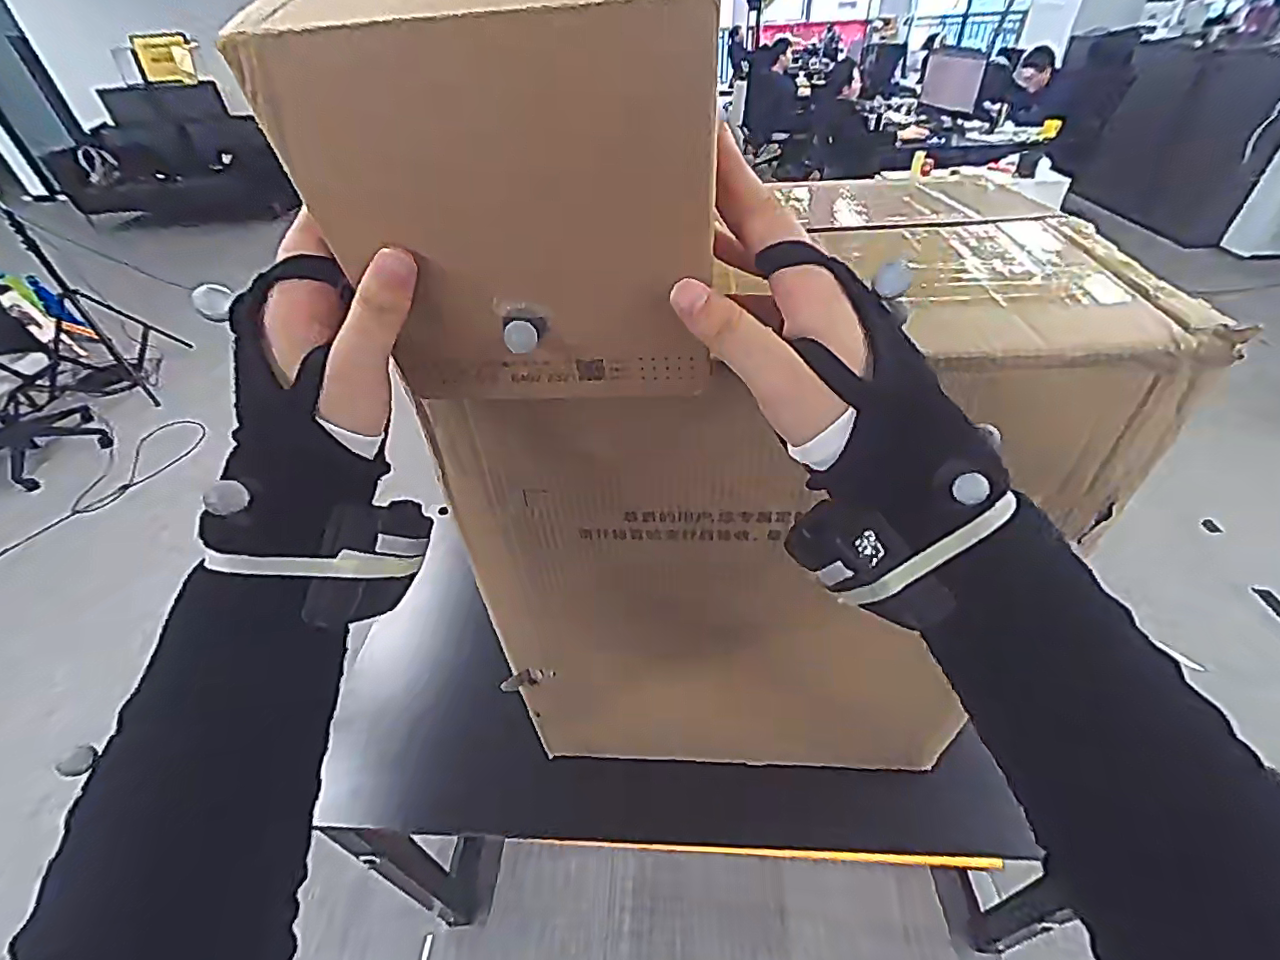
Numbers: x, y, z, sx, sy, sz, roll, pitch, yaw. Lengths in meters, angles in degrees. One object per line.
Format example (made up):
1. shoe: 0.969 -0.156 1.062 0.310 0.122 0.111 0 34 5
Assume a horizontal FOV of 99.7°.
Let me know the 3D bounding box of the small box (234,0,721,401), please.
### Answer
1. small box: -0.045 -0.162 0.286 0.168 0.176 0.179 0 53 6
